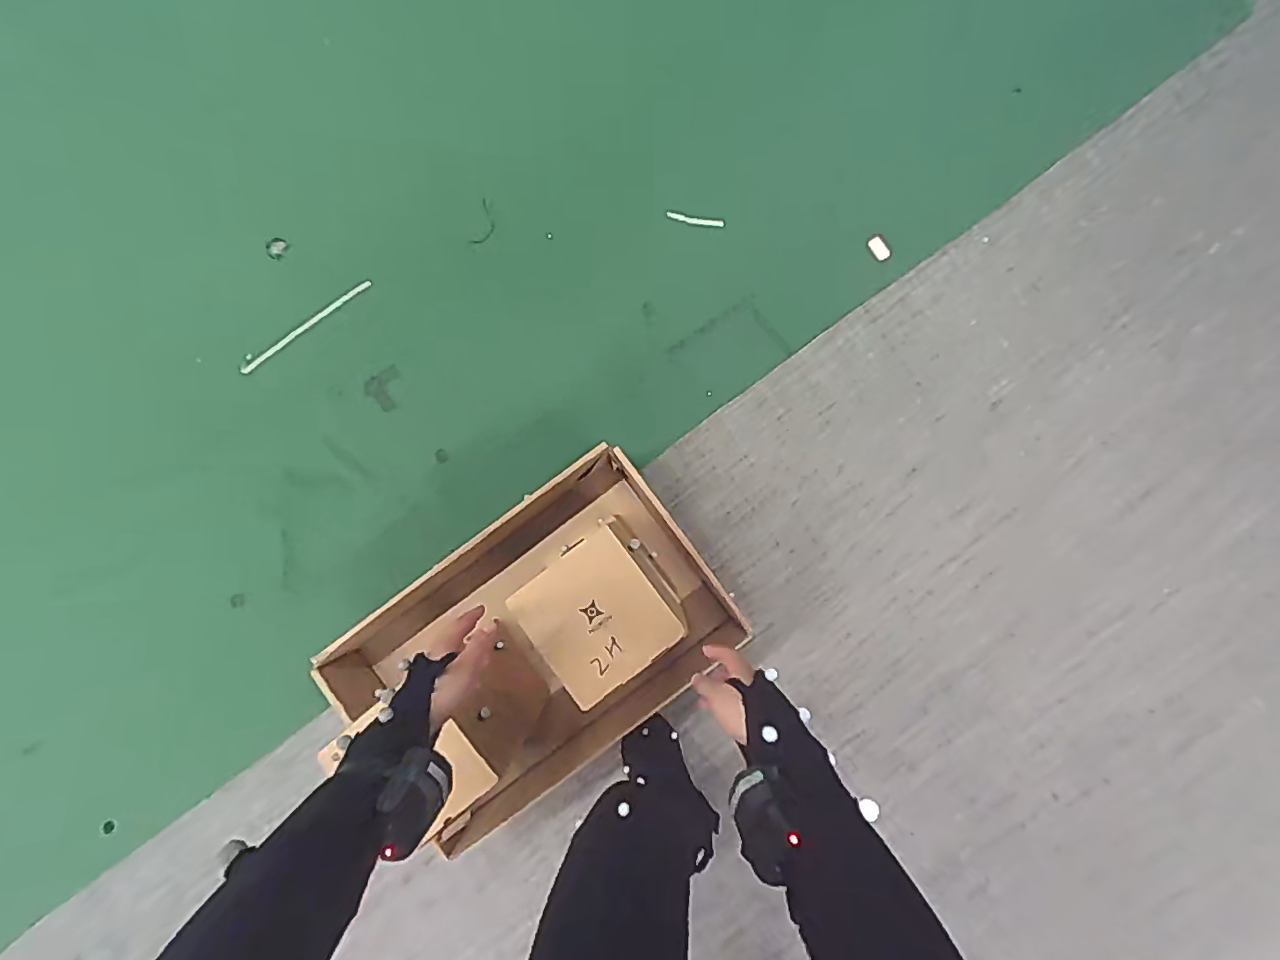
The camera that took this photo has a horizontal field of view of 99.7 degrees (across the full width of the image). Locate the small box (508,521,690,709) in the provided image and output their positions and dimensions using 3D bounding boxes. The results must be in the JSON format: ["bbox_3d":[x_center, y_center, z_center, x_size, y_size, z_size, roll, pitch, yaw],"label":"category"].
[{"bbox_3d":[-0.051,0.173,0.752,0.168,0.176,0.179,-37,88,0],"label":"small box"}]

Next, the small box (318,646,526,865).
[{"bbox_3d":[-0.282,0.359,0.745,0.168,0.176,0.179,-40,88,-2],"label":"small box"}]
